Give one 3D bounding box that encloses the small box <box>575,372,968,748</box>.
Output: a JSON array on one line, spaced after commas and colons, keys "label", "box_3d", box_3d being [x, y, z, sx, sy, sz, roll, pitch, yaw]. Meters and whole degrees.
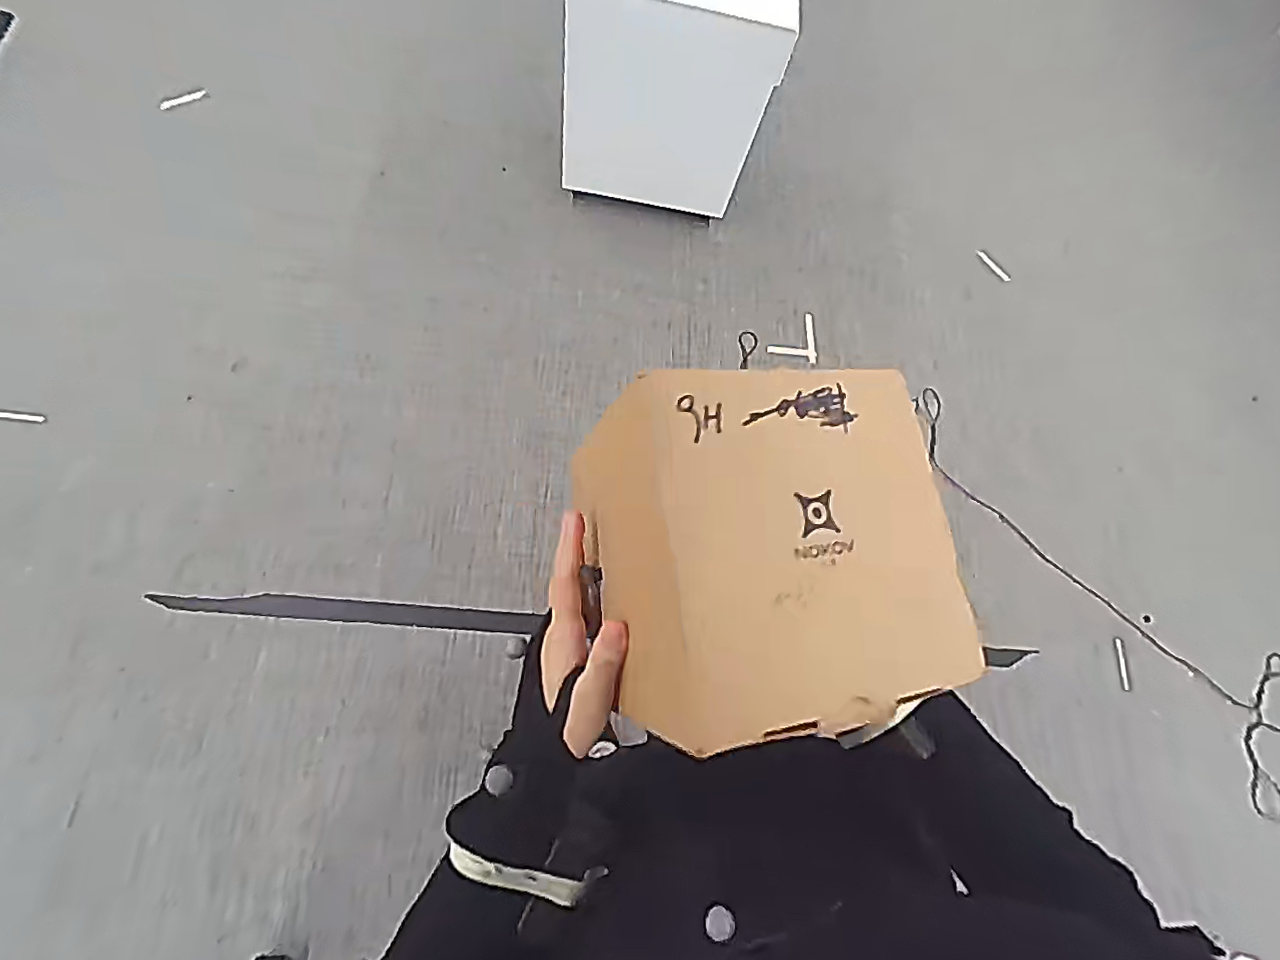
[{"label": "small box", "box_3d": [0.060, 0.044, 0.347, 0.168, 0.176, 0.179, -4, 78, -20]}]
